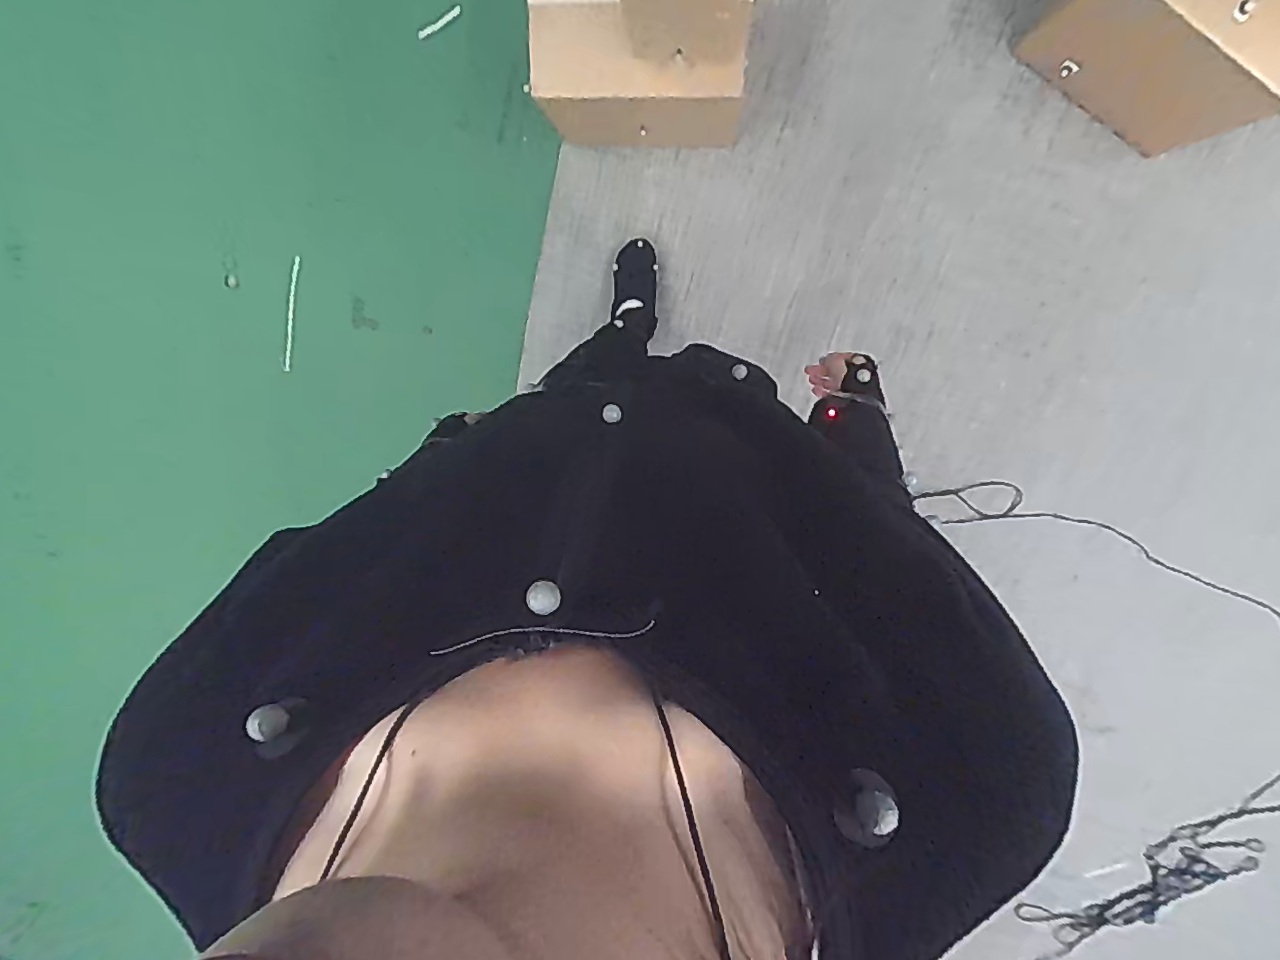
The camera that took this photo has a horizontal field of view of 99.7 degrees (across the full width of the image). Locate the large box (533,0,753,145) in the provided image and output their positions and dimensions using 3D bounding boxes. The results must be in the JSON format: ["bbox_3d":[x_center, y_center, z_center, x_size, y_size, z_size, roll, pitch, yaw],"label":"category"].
[{"bbox_3d":[0.021,-0.904,1.106,0.408,0.320,0.320,3,106,7],"label":"large box"}]

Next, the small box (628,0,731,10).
[{"bbox_3d":[0.060,-0.763,0.714,0.179,0.176,0.168,4,107,7],"label":"small box"}]

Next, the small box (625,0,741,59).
[{"bbox_3d":[0.078,-0.812,0.870,0.179,0.176,0.168,7,107,4],"label":"small box"}]
